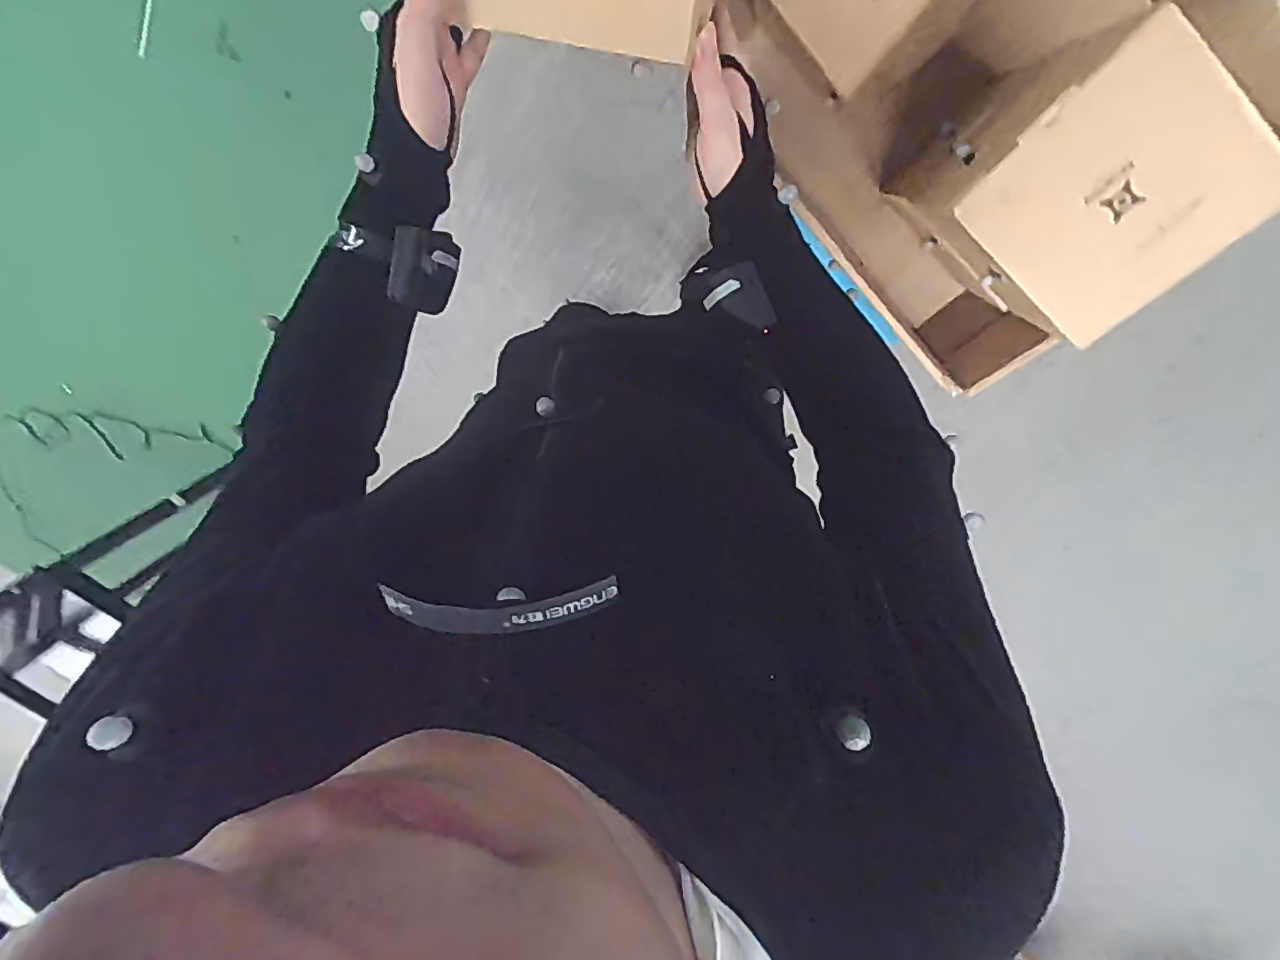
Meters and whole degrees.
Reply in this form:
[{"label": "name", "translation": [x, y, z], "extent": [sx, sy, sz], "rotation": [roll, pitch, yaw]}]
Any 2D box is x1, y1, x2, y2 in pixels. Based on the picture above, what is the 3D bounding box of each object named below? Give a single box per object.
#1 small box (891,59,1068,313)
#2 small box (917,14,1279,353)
[{"label": "small box", "translation": [0.420, -0.325, 0.622], "extent": [0.179, 0.176, 0.168], "rotation": [41, 121, -9]}, {"label": "small box", "translation": [0.383, -0.248, 0.483], "extent": [0.179, 0.176, 0.168], "rotation": [40, 121, -9]}]
